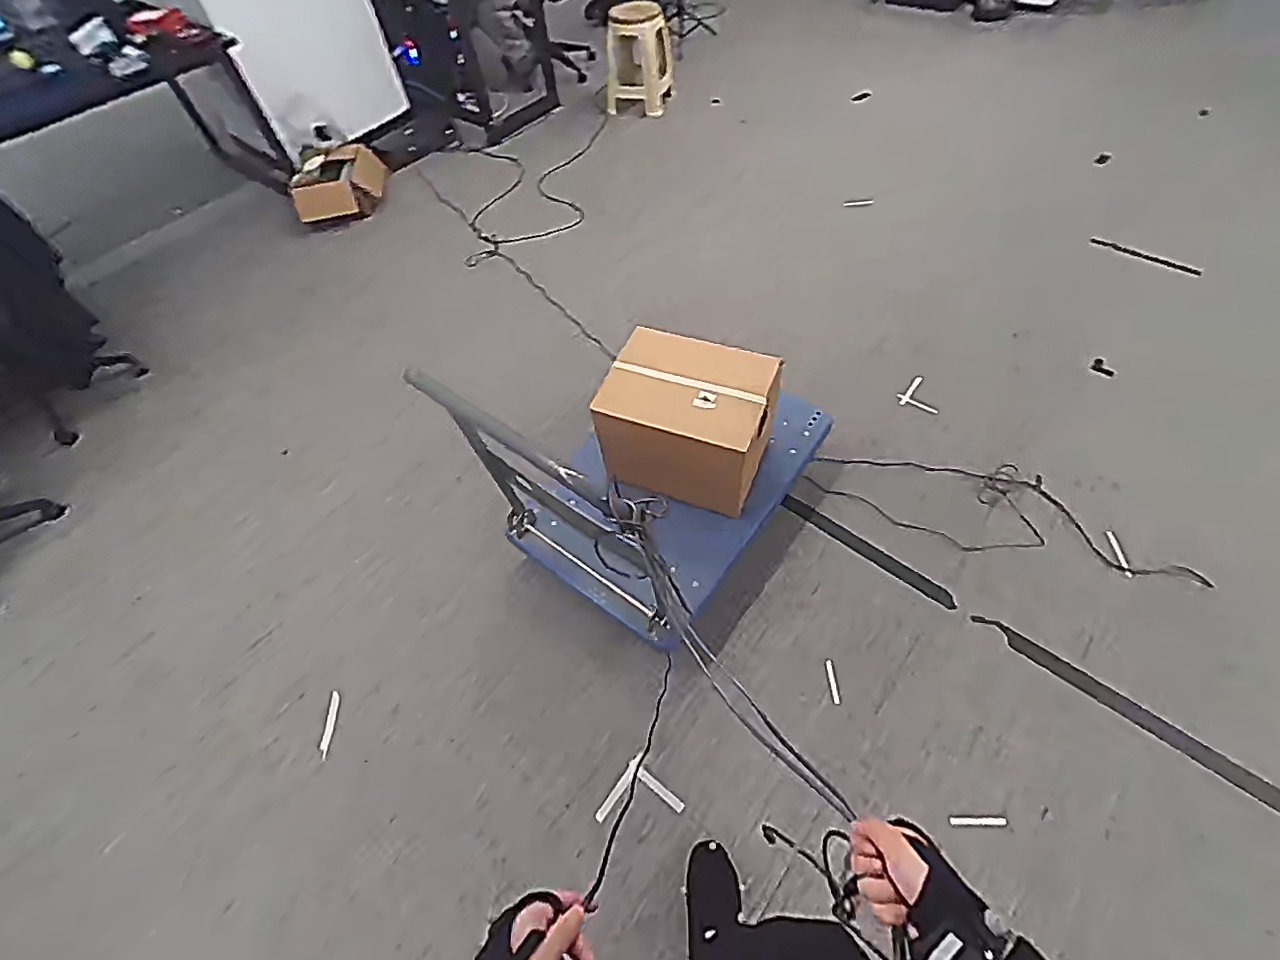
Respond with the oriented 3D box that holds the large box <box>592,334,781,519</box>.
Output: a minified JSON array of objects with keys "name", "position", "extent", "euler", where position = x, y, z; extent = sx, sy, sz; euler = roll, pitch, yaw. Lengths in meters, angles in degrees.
[{"name":"large box","position":[0.127,-0.145,1.466],"extent":[0.408,0.320,0.320],"euler":[18,61,16]}]
